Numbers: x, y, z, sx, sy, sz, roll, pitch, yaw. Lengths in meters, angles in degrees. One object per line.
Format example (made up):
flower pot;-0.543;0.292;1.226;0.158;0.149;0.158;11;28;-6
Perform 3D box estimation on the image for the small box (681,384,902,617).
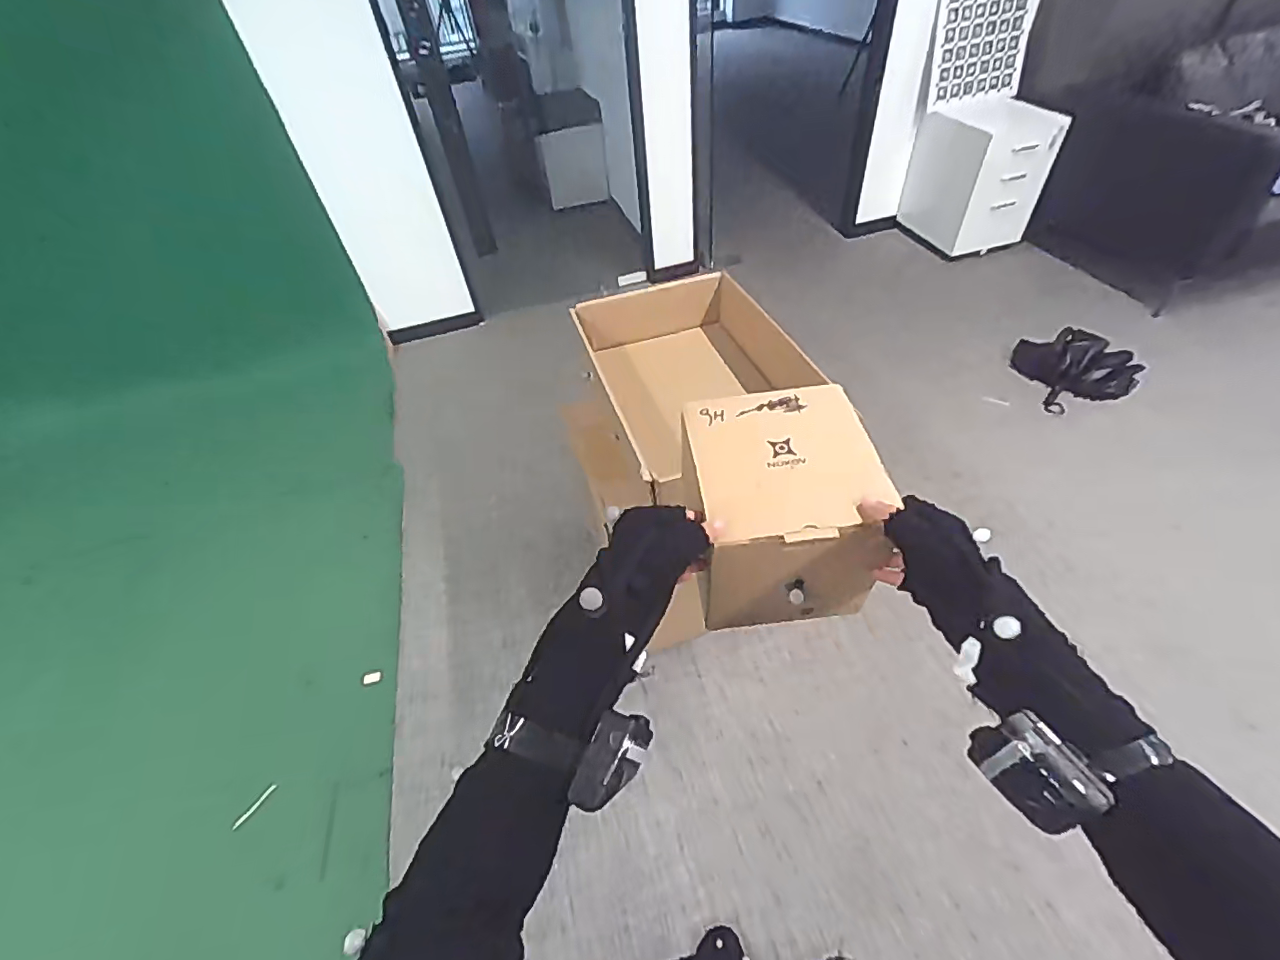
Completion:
small box;0.136;0.028;0.558;0.168;0.176;0.179;-7;51;0
